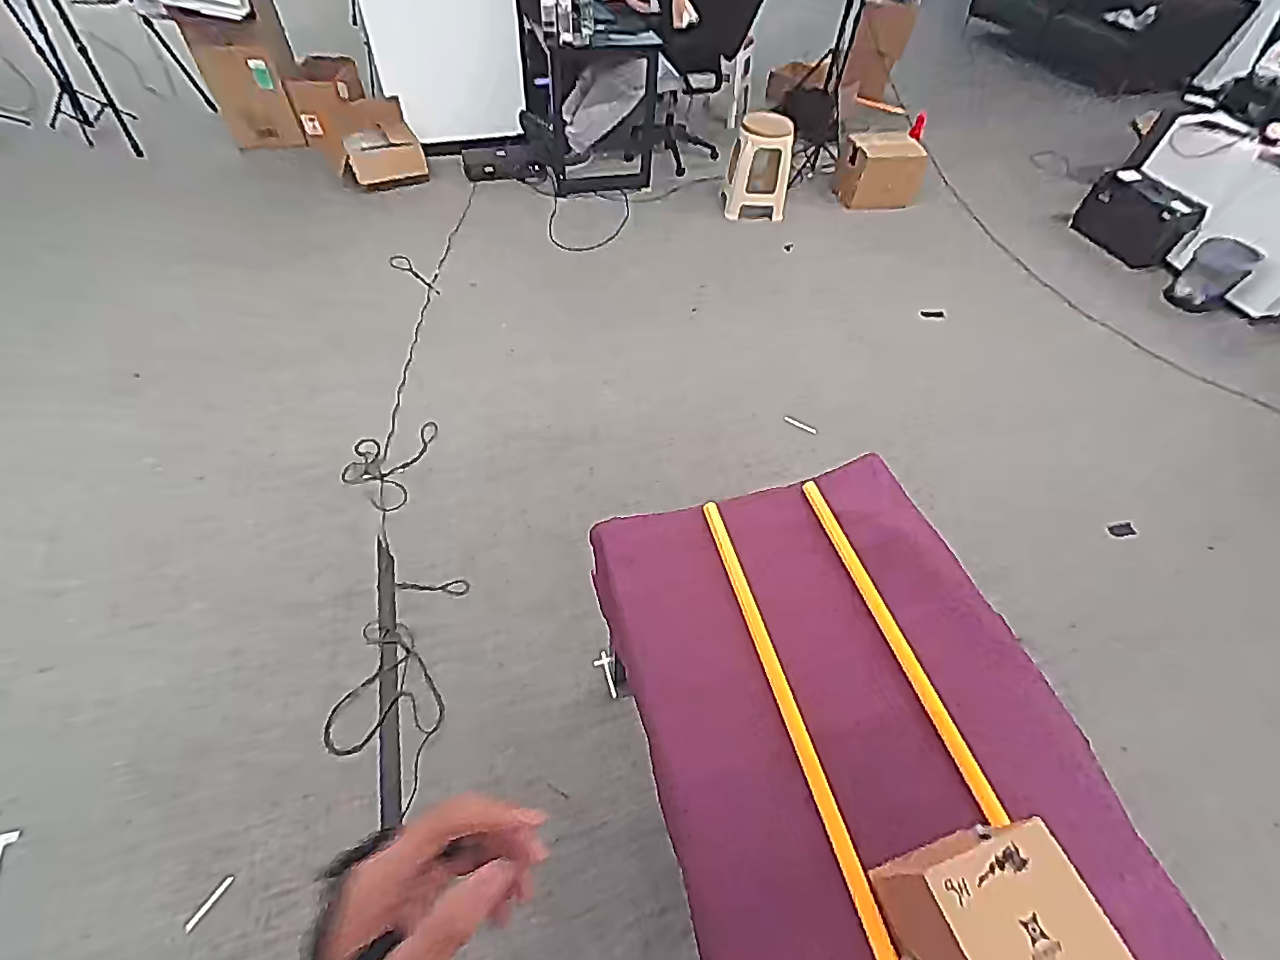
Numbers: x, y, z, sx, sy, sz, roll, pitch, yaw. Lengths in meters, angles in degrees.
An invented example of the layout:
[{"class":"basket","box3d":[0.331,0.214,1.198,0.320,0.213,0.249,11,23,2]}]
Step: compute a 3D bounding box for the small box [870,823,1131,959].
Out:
[{"class":"small box","box3d":[0.400,0.516,0.613,0.168,0.176,0.179,-13,56,-13]}]
